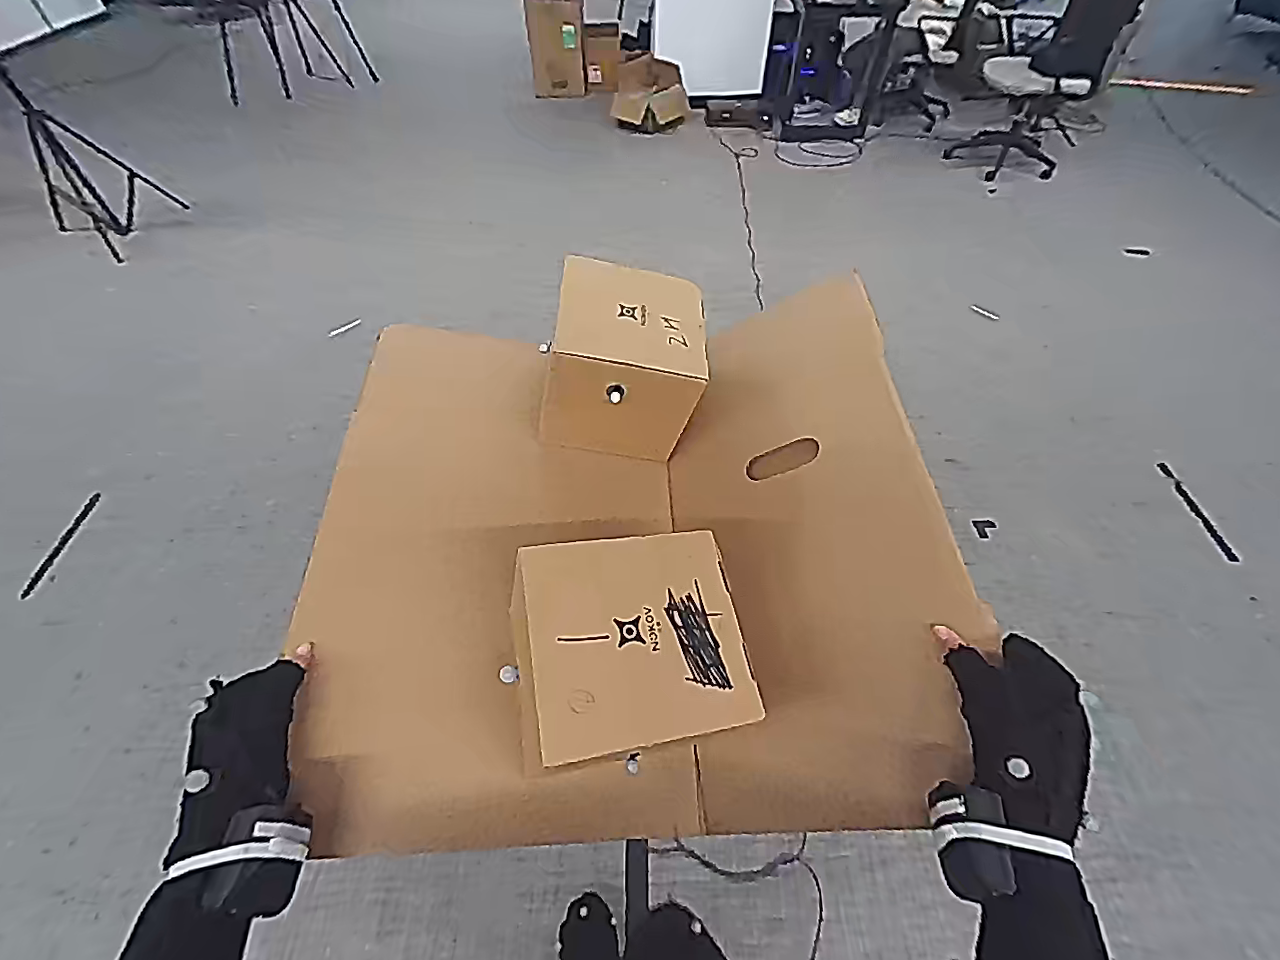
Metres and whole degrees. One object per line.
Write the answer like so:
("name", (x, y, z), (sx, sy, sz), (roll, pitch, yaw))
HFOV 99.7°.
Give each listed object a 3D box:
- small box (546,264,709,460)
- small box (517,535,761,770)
("small box", (-0.022, -0.143, 0.701), (0.179, 0.176, 0.168), (9, 57, -11))
("small box", (-0.017, 0.164, 0.510), (0.179, 0.176, 0.168), (-3, 60, -17))
